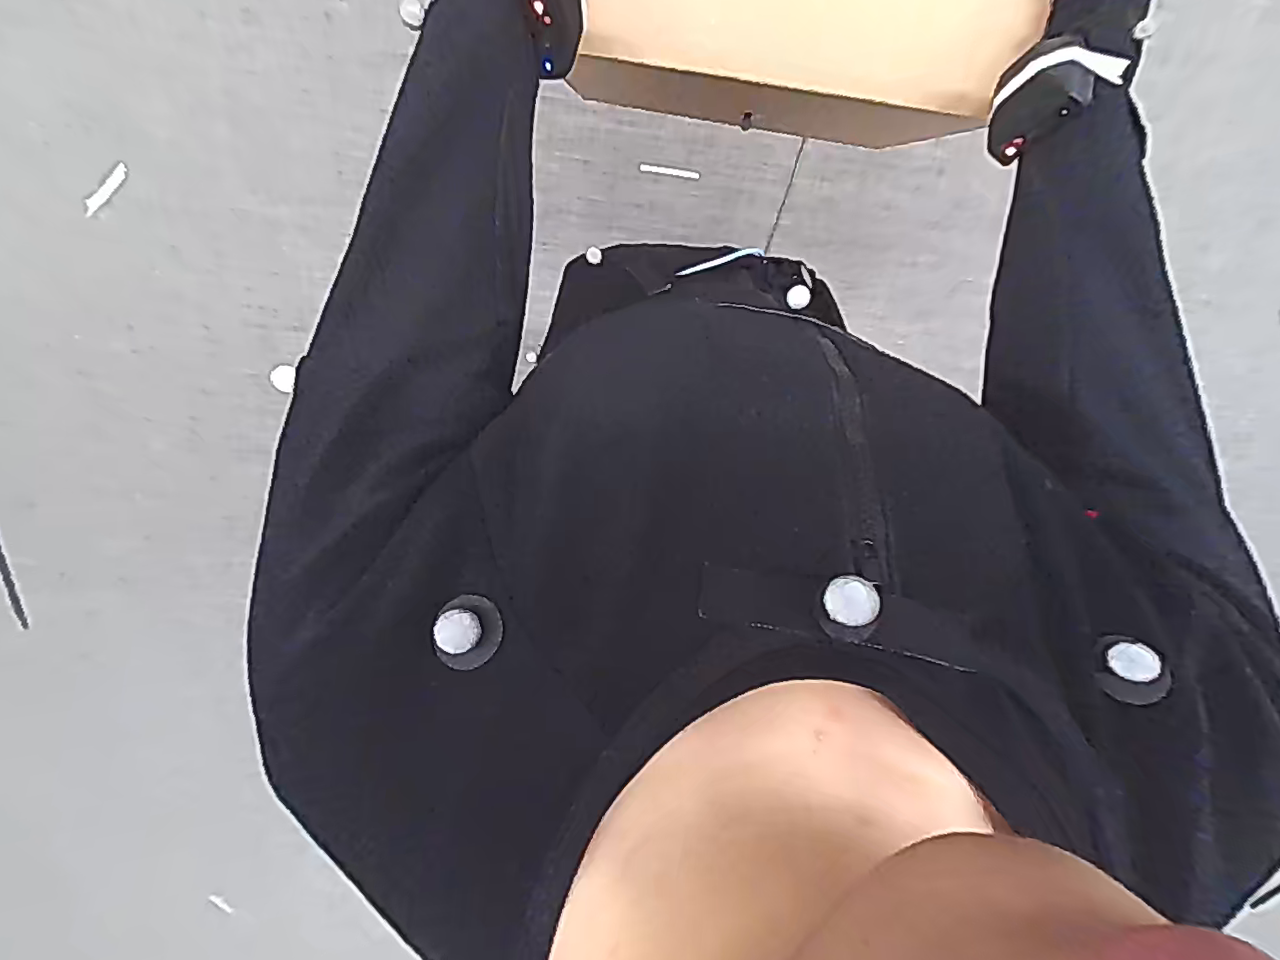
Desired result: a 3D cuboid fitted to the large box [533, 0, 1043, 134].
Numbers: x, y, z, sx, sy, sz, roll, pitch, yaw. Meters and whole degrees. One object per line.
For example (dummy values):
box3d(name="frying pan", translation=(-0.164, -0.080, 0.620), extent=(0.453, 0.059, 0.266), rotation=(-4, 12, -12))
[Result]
box3d(name="large box", translation=(0.137, -0.541, 0.507), extent=(0.408, 0.320, 0.320), rotation=(9, 118, -2))
